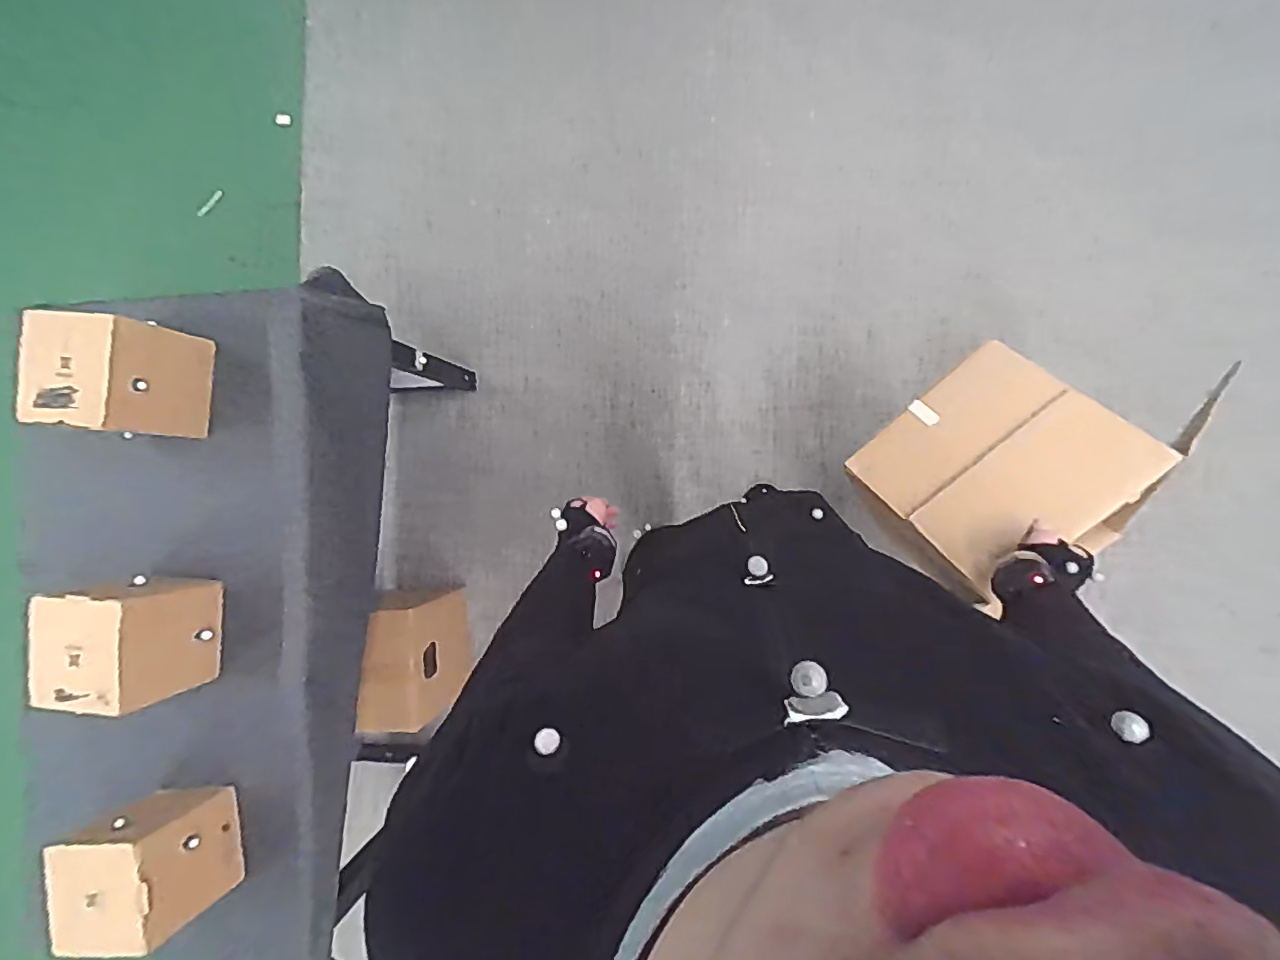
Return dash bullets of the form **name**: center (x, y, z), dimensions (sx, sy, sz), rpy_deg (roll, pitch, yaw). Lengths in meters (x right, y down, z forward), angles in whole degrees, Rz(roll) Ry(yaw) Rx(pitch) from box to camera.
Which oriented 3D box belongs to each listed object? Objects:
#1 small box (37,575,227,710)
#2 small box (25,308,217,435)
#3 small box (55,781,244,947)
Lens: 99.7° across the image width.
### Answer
- **small box**: center (-0.836, 0.259, 0.906), dimensions (0.168, 0.176, 0.179), rpy_deg (2, 90, 9)
- **small box**: center (-0.855, -0.172, 0.905), dimensions (0.168, 0.176, 0.179), rpy_deg (6, 91, 9)
- **small box**: center (-0.800, 0.627, 0.902), dimensions (0.179, 0.176, 0.168), rpy_deg (-9, 87, 11)
